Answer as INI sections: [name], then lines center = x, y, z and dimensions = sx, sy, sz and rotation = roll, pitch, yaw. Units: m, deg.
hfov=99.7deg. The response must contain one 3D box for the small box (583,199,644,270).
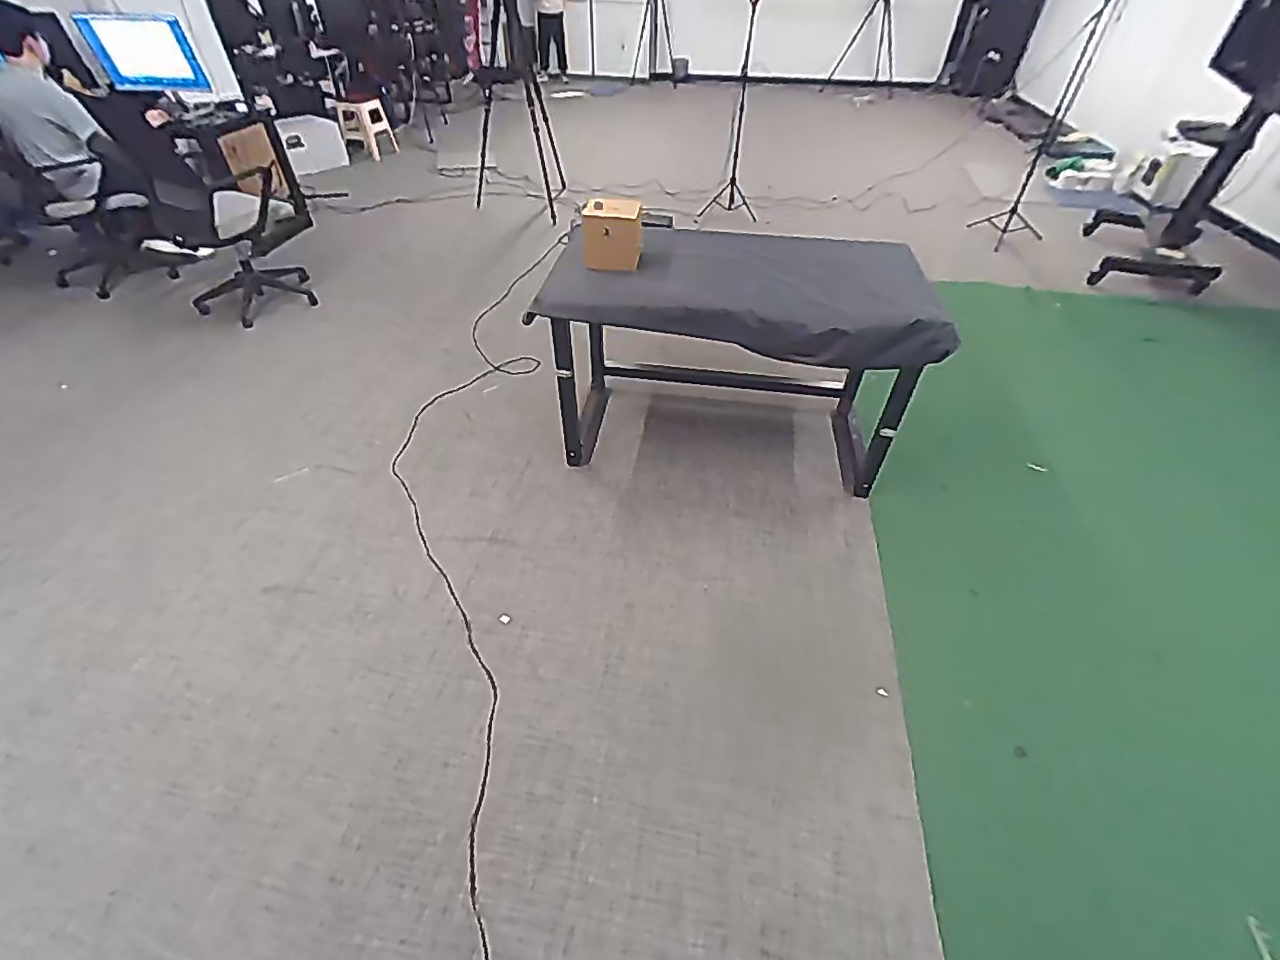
[small box]
center = -0.083, -0.807, 1.780
dimensions = 0.179, 0.176, 0.168
rotation = 6, 45, 3
